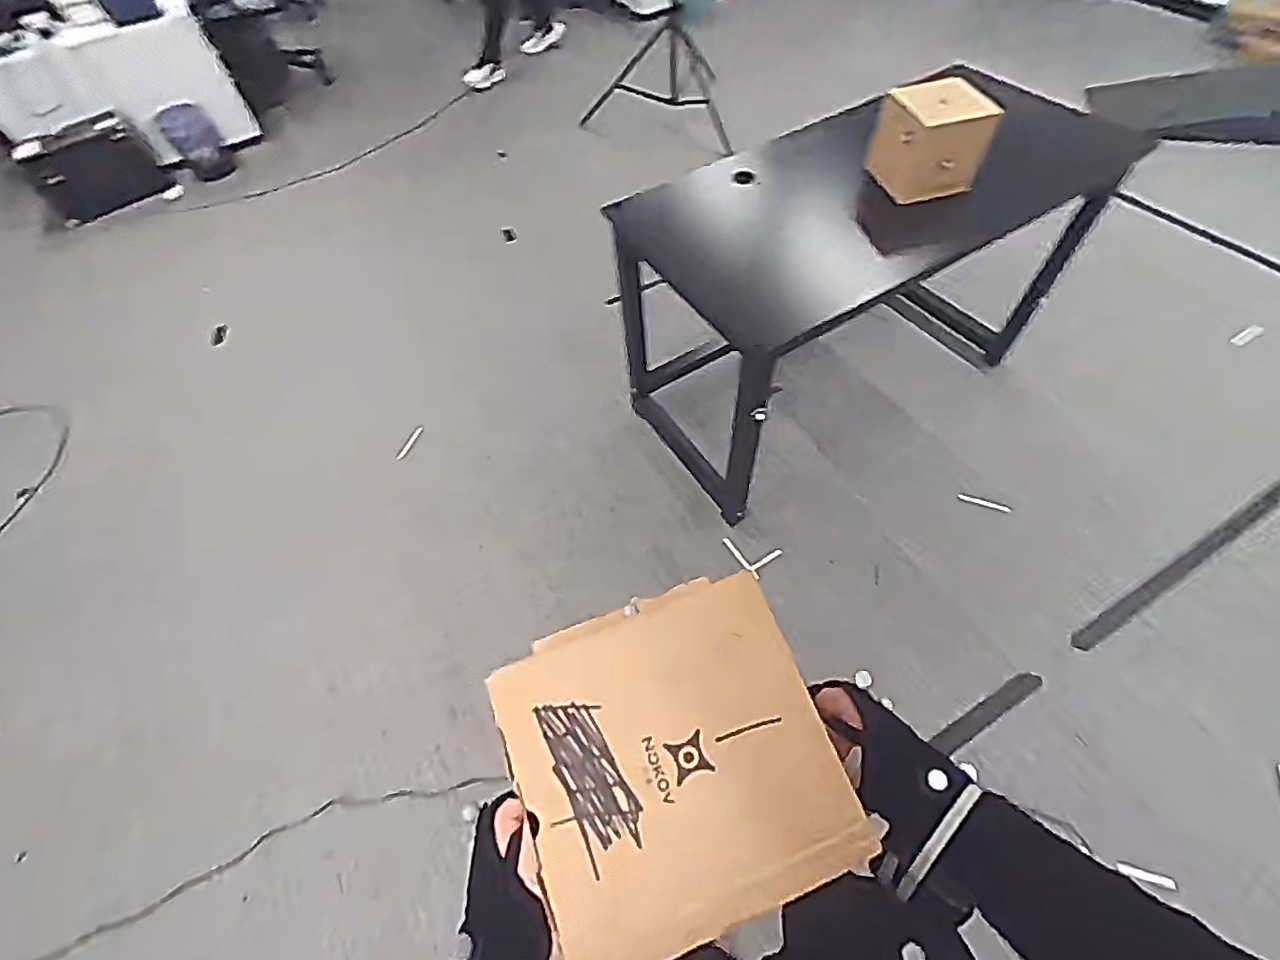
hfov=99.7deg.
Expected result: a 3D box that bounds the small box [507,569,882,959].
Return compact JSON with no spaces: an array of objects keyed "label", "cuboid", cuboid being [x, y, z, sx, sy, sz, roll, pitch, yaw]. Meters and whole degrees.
[{"label":"small box","cuboid":[0.027,0.184,0.387,0.179,0.176,0.168,-20,71,-8]}]

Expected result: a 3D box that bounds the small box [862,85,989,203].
[{"label":"small box","cuboid":[0.634,-0.750,1.224,0.168,0.176,0.179,-13,57,-4]}]
